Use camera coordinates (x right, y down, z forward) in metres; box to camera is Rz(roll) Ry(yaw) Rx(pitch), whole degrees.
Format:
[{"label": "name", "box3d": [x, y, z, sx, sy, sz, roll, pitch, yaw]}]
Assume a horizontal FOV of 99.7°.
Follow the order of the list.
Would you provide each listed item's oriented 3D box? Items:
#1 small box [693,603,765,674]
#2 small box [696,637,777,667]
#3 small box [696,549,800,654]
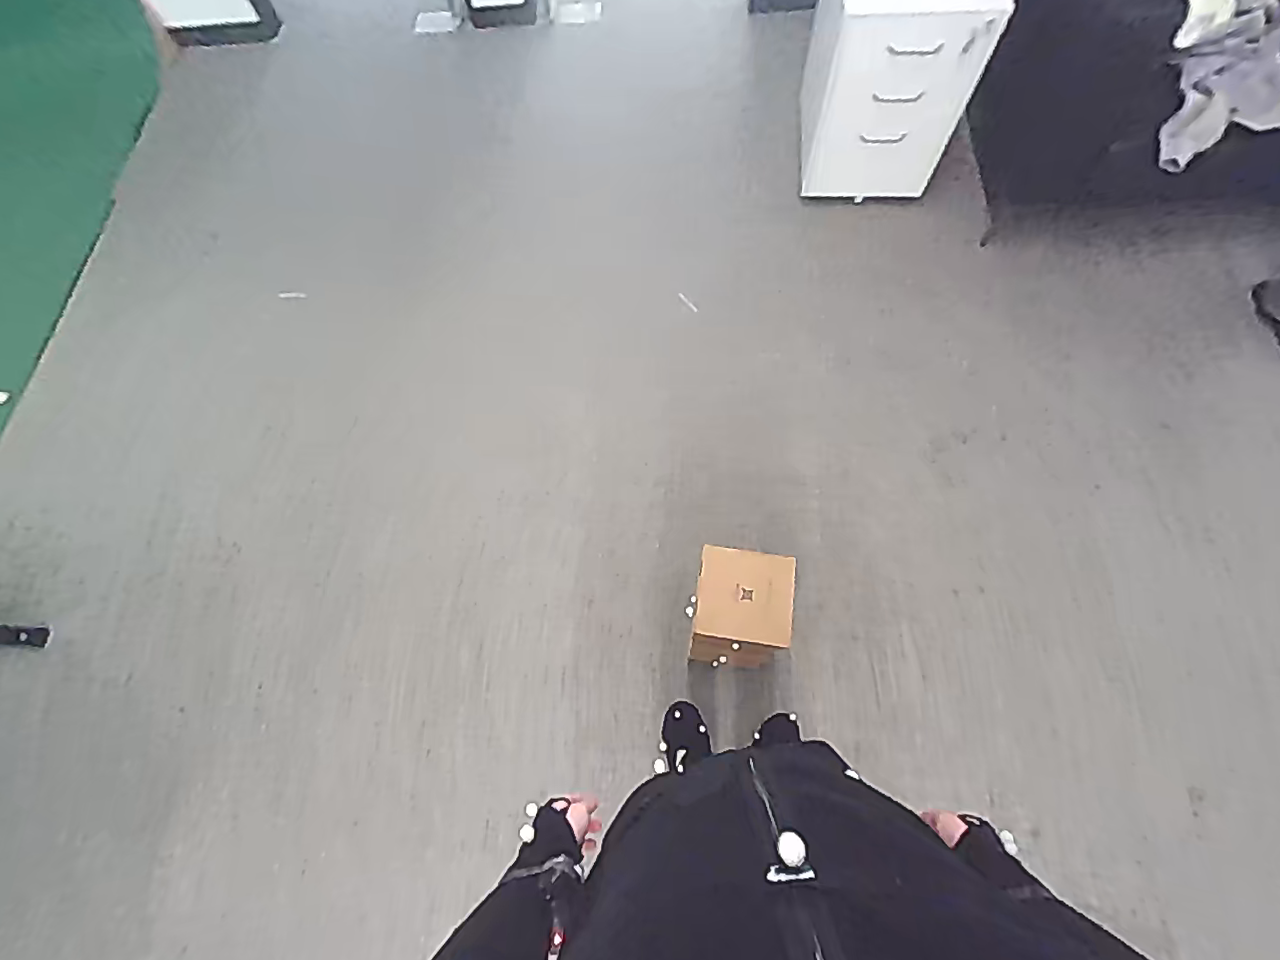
[{"label": "small box", "box3d": [0.226, 0.381, 1.360, 0.168, 0.176, 0.179, 8, 69, 7]}, {"label": "small box", "box3d": [0.218, 0.312, 1.210, 0.168, 0.176, 0.179, 8, 70, 8]}, {"label": "small box", "box3d": [0.206, 0.244, 1.063, 0.179, 0.176, 0.168, 7, 70, 6]}]
